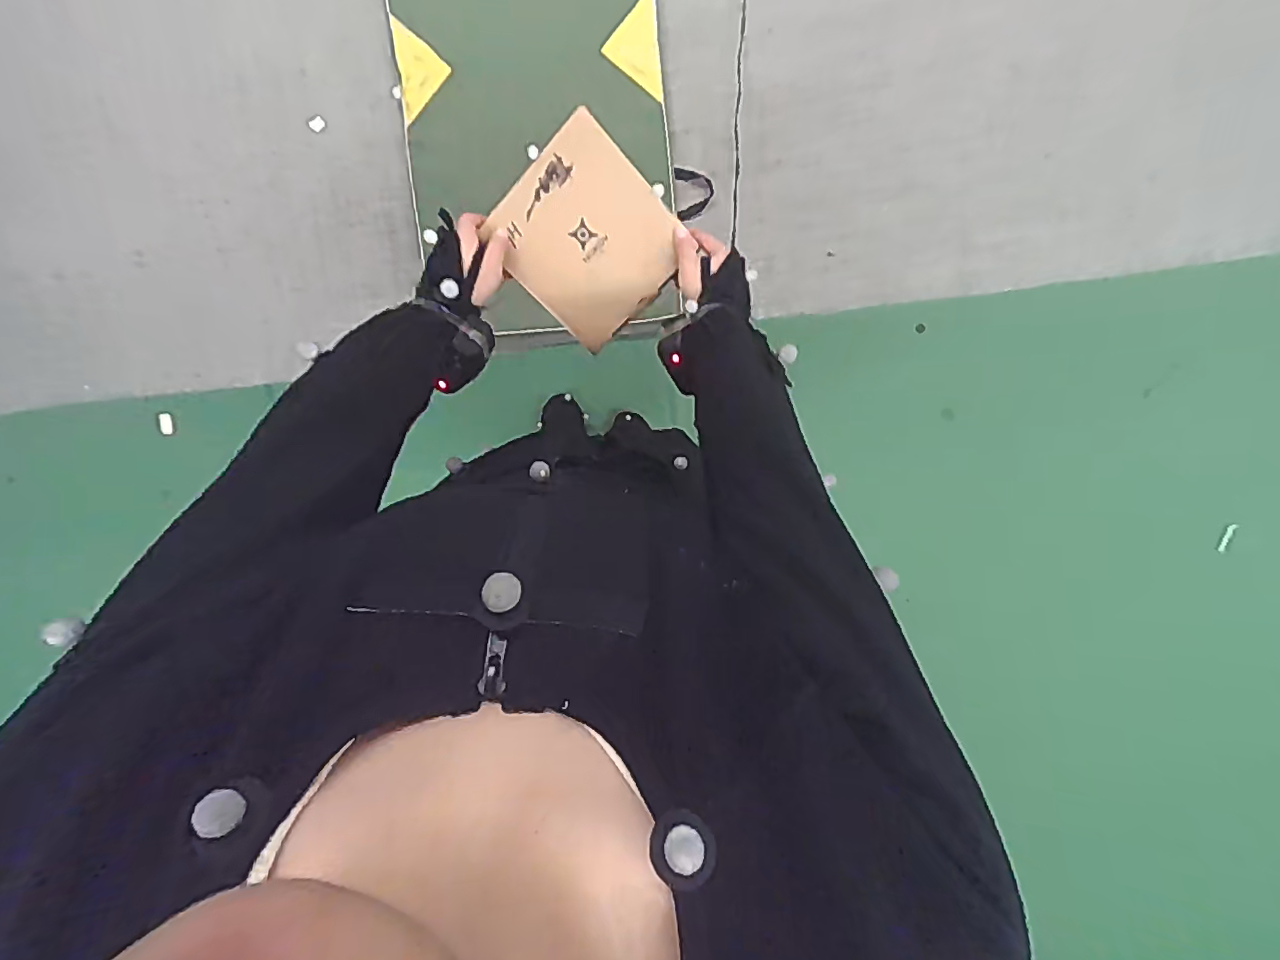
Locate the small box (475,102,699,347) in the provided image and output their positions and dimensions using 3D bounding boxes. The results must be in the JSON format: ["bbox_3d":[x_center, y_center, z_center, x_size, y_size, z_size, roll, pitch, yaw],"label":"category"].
[{"bbox_3d":[-0.054,-0.290,0.630,0.168,0.176,0.179,-41,110,17],"label":"small box"}]
